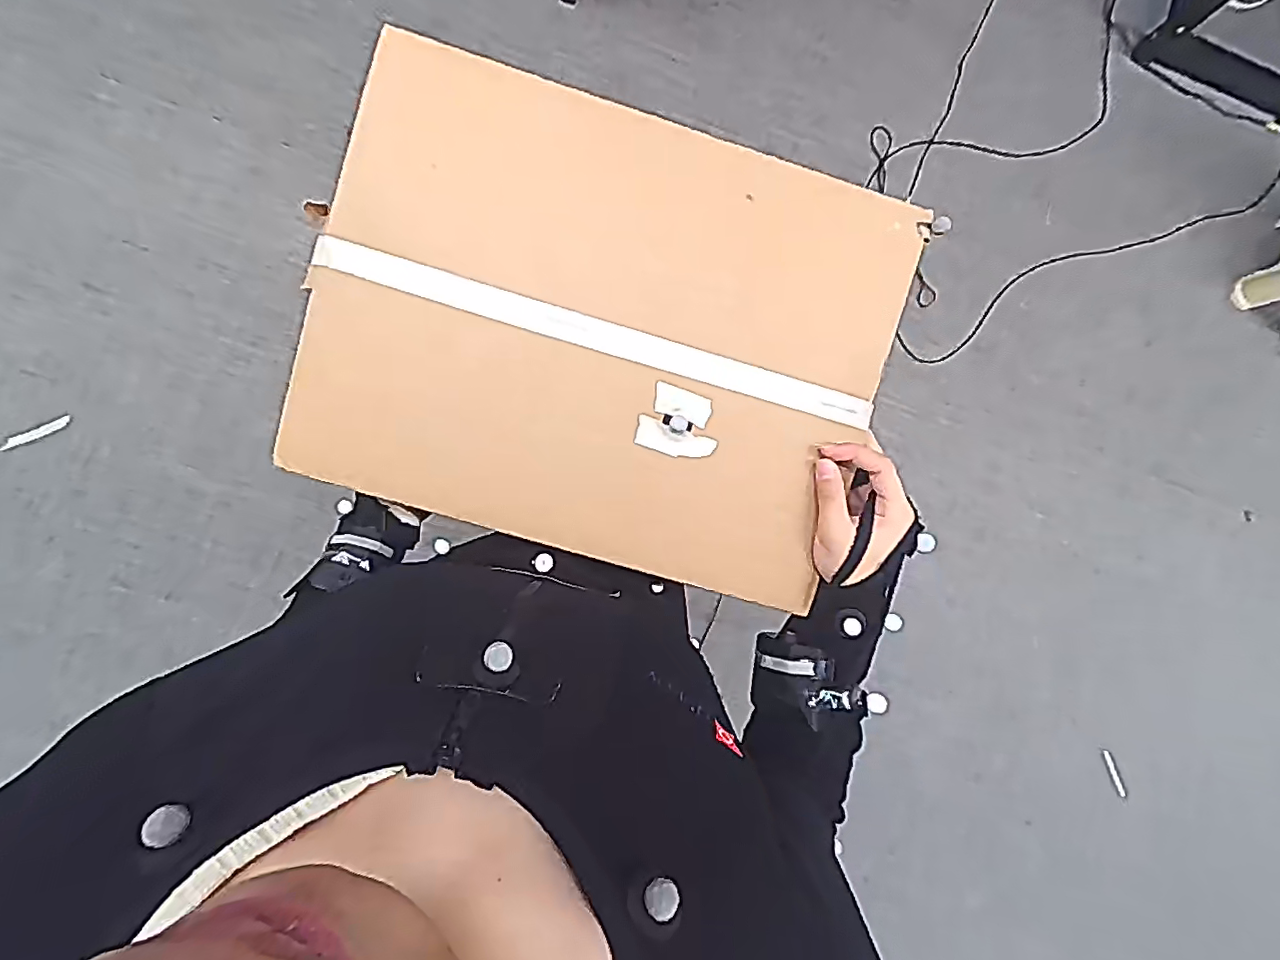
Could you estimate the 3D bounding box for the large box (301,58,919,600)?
[{"bbox_3d":[-0.028,-0.110,0.546,0.408,0.320,0.320,16,94,-5],"label":"large box"}]
